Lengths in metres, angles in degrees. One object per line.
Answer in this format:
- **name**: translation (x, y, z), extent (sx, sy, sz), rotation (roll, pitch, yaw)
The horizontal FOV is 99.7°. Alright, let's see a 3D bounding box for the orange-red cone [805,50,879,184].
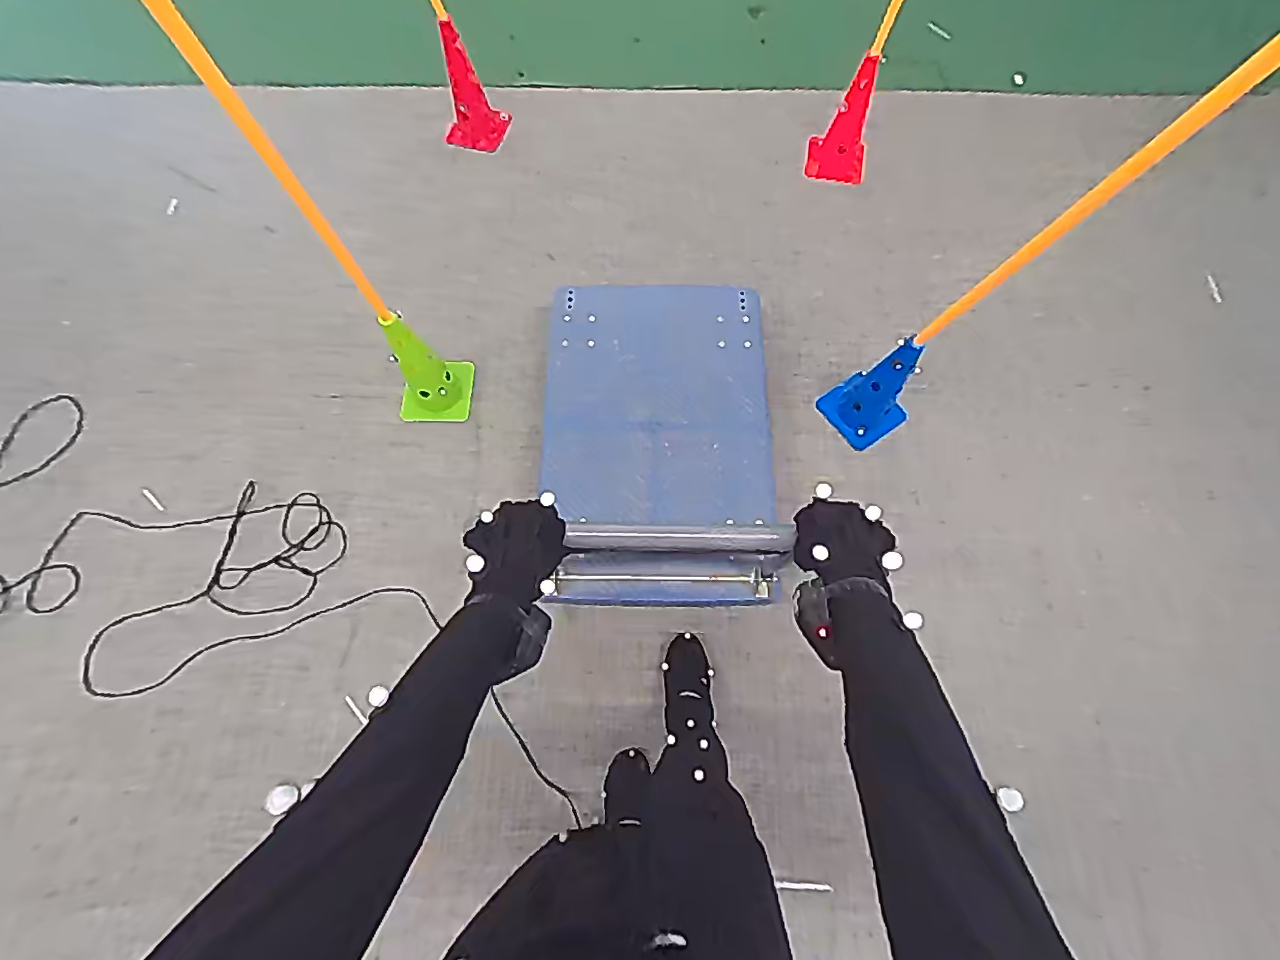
- **orange-red cone**: translation (0.684, -1.178, 1.737), extent (0.198, 0.360, 0.199), rotation (12, 72, 6)
